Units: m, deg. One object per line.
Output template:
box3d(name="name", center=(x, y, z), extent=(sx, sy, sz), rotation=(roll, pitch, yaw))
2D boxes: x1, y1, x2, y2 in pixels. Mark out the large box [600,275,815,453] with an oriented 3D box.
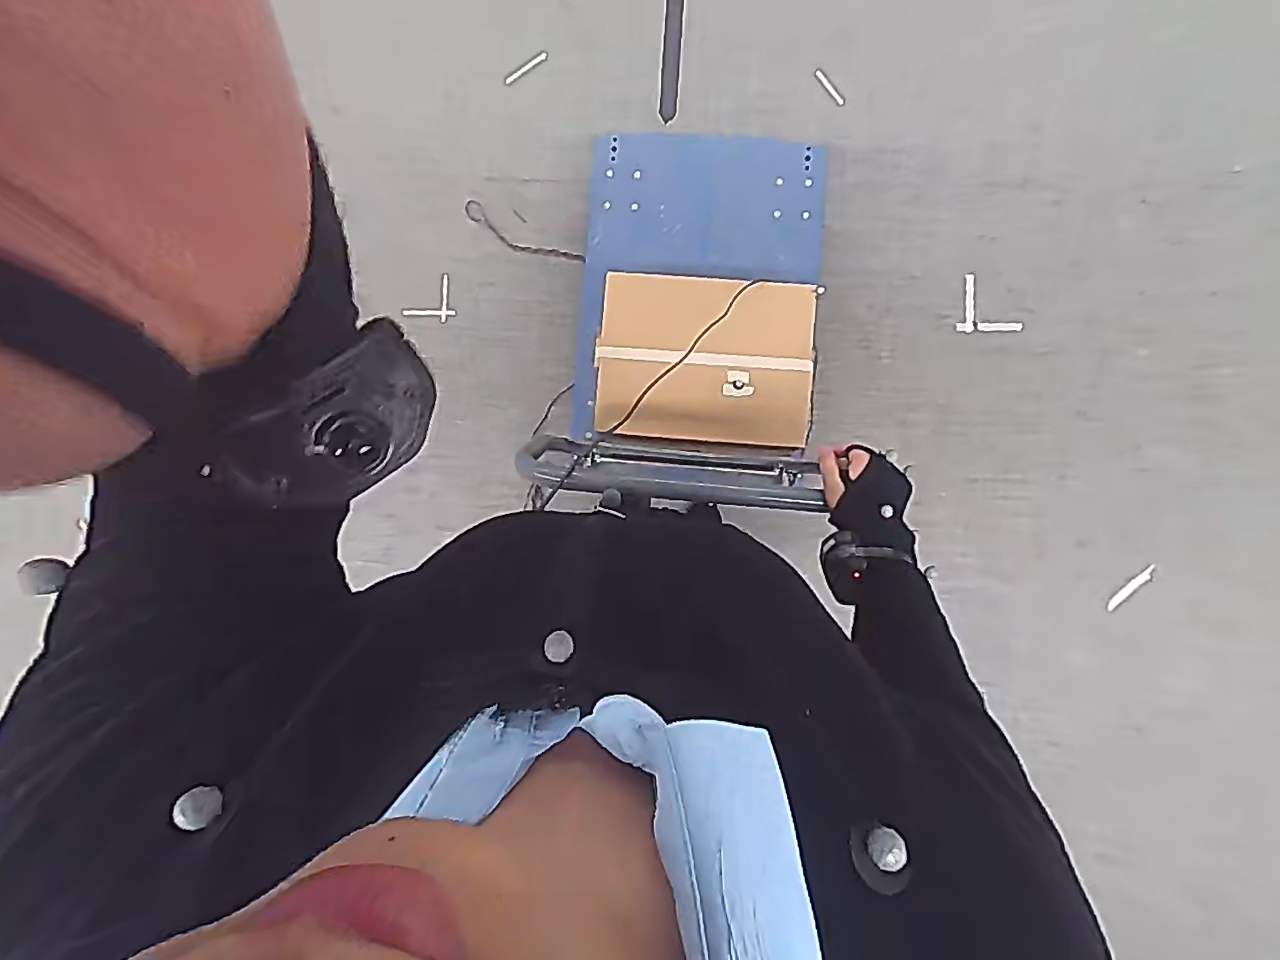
box3d(name="large box", center=(0.132, -0.232, 1.189), extent=(0.408, 0.320, 0.320), rotation=(4, 90, 2))
